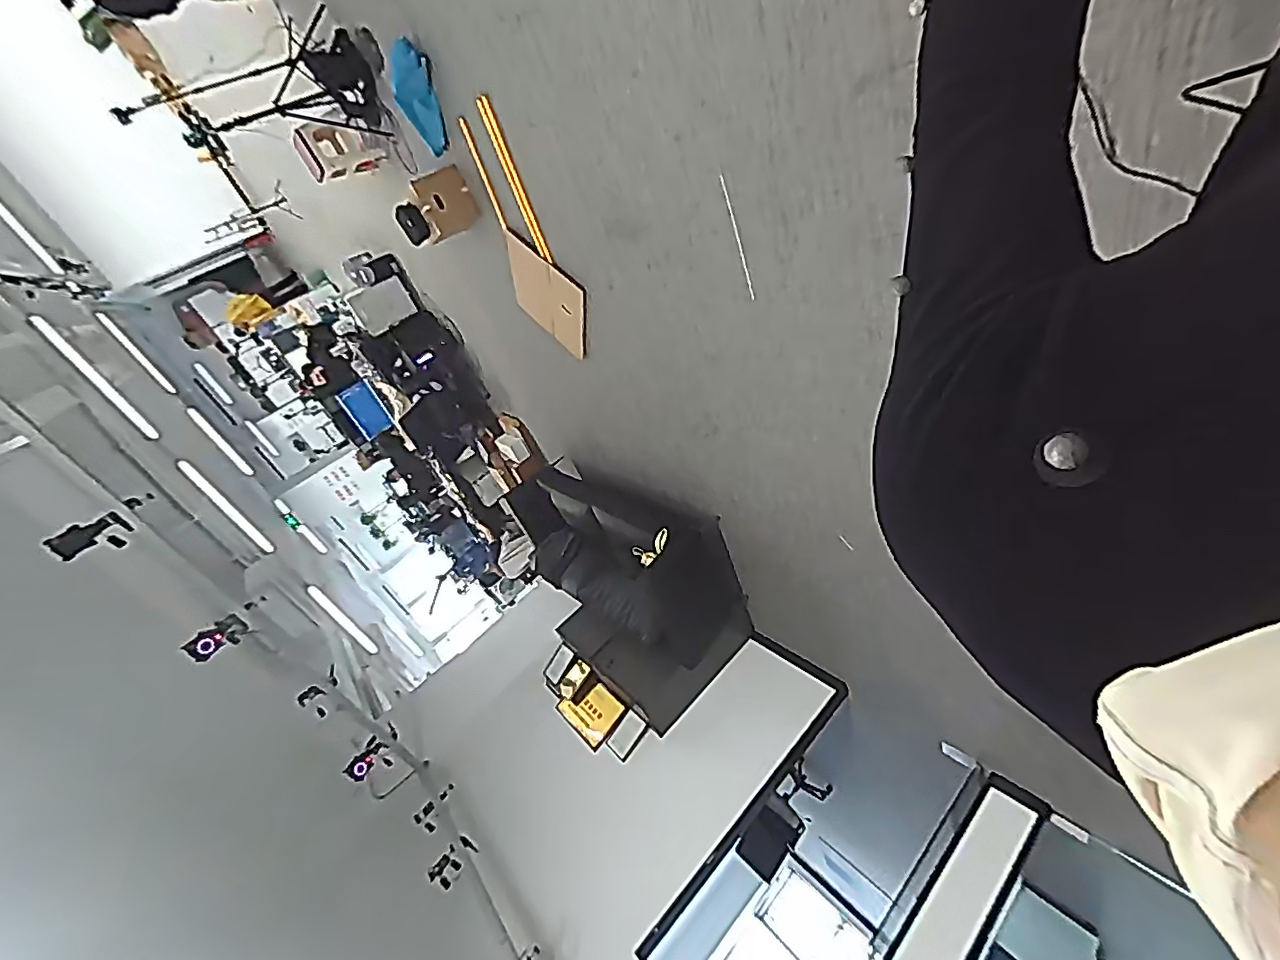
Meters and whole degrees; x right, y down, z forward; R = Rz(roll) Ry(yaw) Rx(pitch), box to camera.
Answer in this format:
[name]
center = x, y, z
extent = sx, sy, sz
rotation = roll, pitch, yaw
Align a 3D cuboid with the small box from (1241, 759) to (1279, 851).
[small box]
center = 1.630, 0.816, 1.306
extent = 0.179, 0.176, 0.168
rotation = 27, 149, 41
